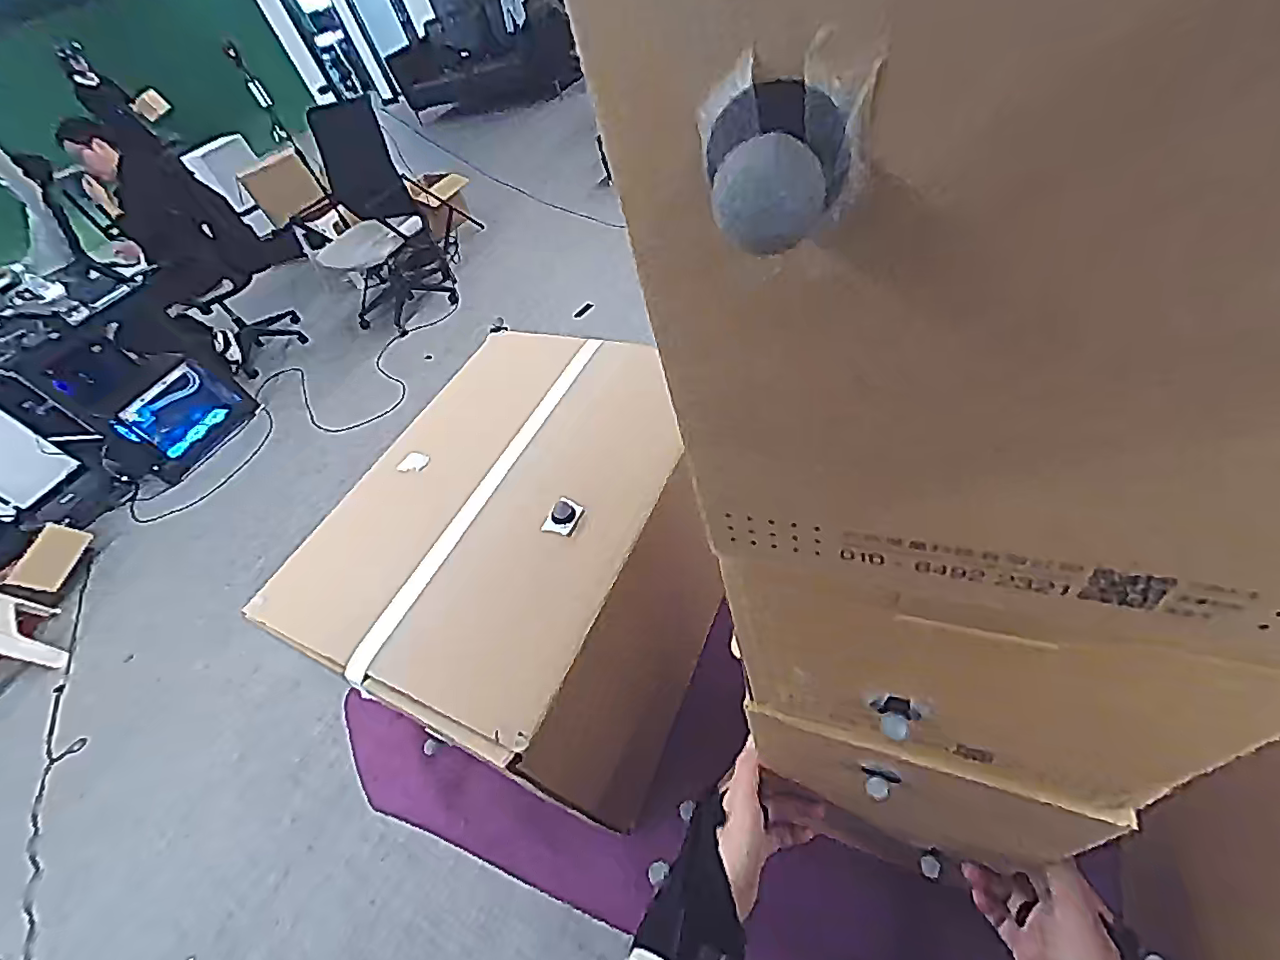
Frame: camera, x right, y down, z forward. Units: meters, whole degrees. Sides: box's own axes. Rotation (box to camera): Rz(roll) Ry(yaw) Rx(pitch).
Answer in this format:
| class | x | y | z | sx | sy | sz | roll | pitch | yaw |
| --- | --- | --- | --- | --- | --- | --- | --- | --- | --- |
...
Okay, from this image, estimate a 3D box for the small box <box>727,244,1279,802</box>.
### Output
| class | x | y | z | sx | sy | sz | roll | pitch | yaw |
| --- | --- | --- | --- | --- | --- | --- | --- | --- | --- |
| small box | 0.148 | 0.016 | 0.251 | 0.168 | 0.176 | 0.179 | 7 | 53 | 24 |
